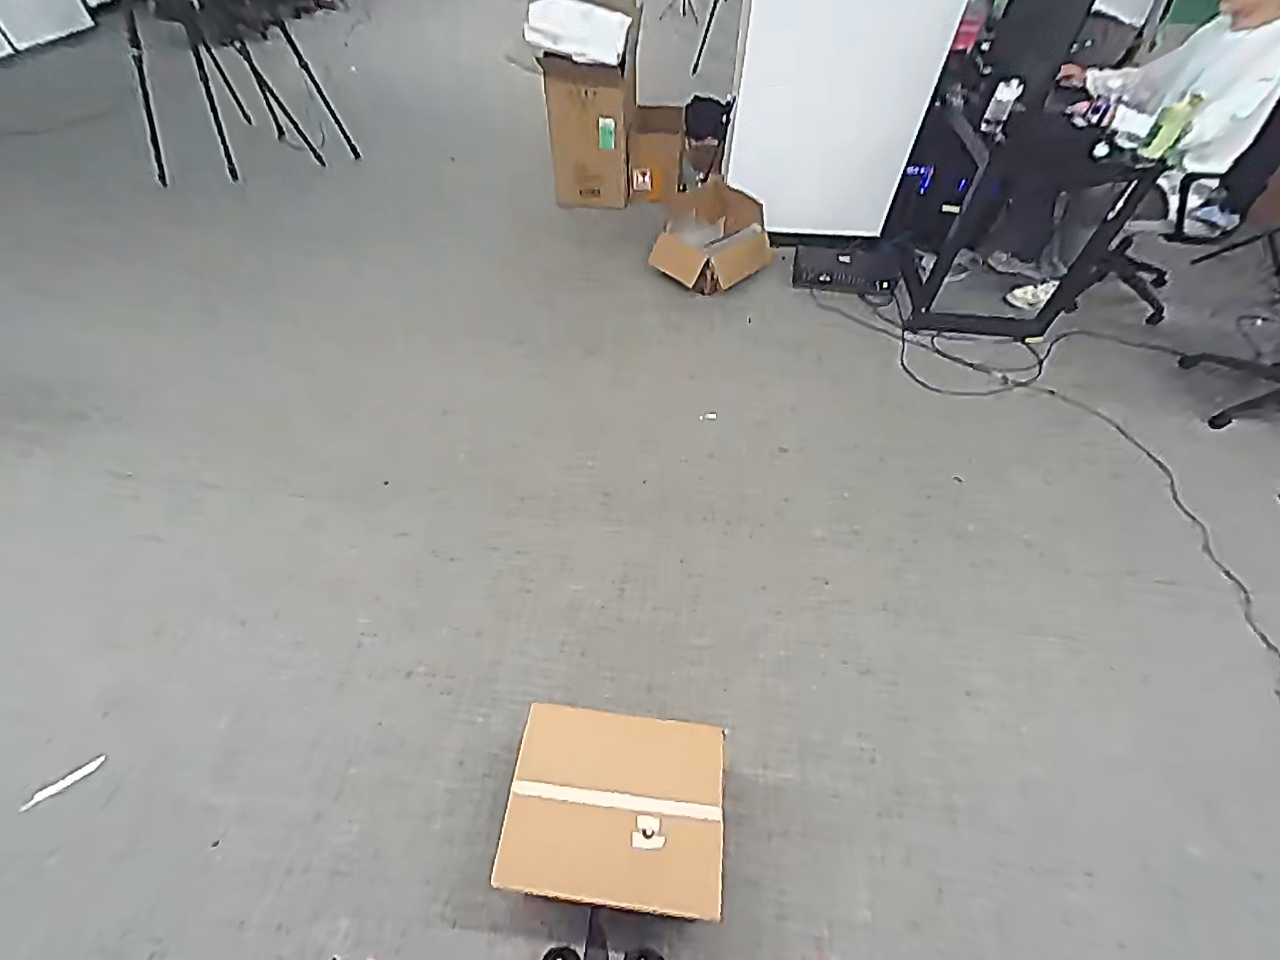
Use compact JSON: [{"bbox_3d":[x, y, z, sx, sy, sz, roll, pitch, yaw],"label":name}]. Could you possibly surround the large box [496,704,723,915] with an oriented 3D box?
[{"bbox_3d":[-0.048,0.700,1.145,0.408,0.320,0.320,7,52,3],"label":"large box"}]
